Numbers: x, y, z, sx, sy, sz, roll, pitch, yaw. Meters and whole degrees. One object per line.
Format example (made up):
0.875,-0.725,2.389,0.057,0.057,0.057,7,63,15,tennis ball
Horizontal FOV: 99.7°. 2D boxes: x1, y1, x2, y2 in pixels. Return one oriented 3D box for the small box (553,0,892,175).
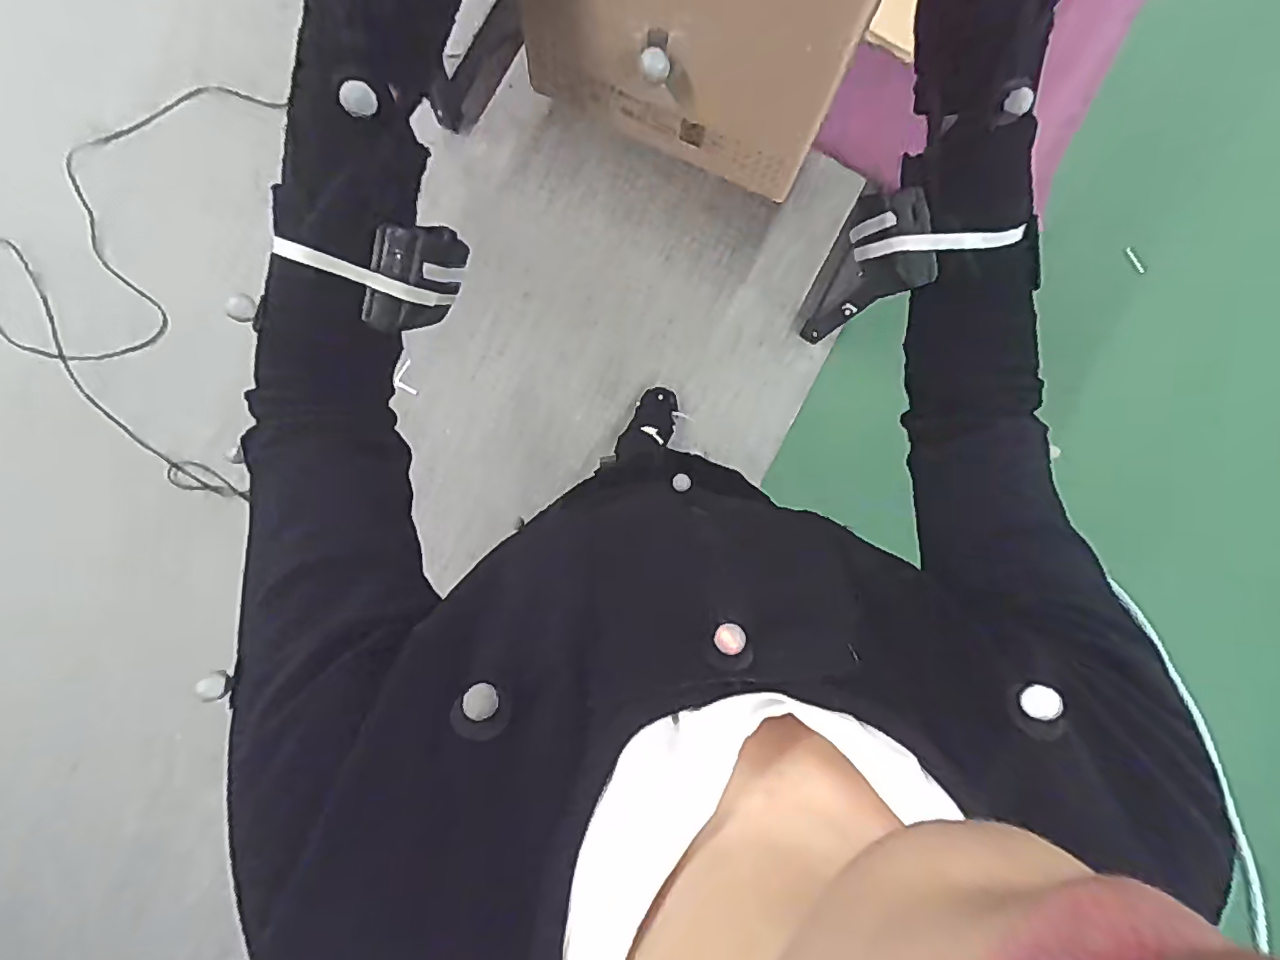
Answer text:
0.059,-0.295,0.253,0.168,0.176,0.179,26,76,3,small box
